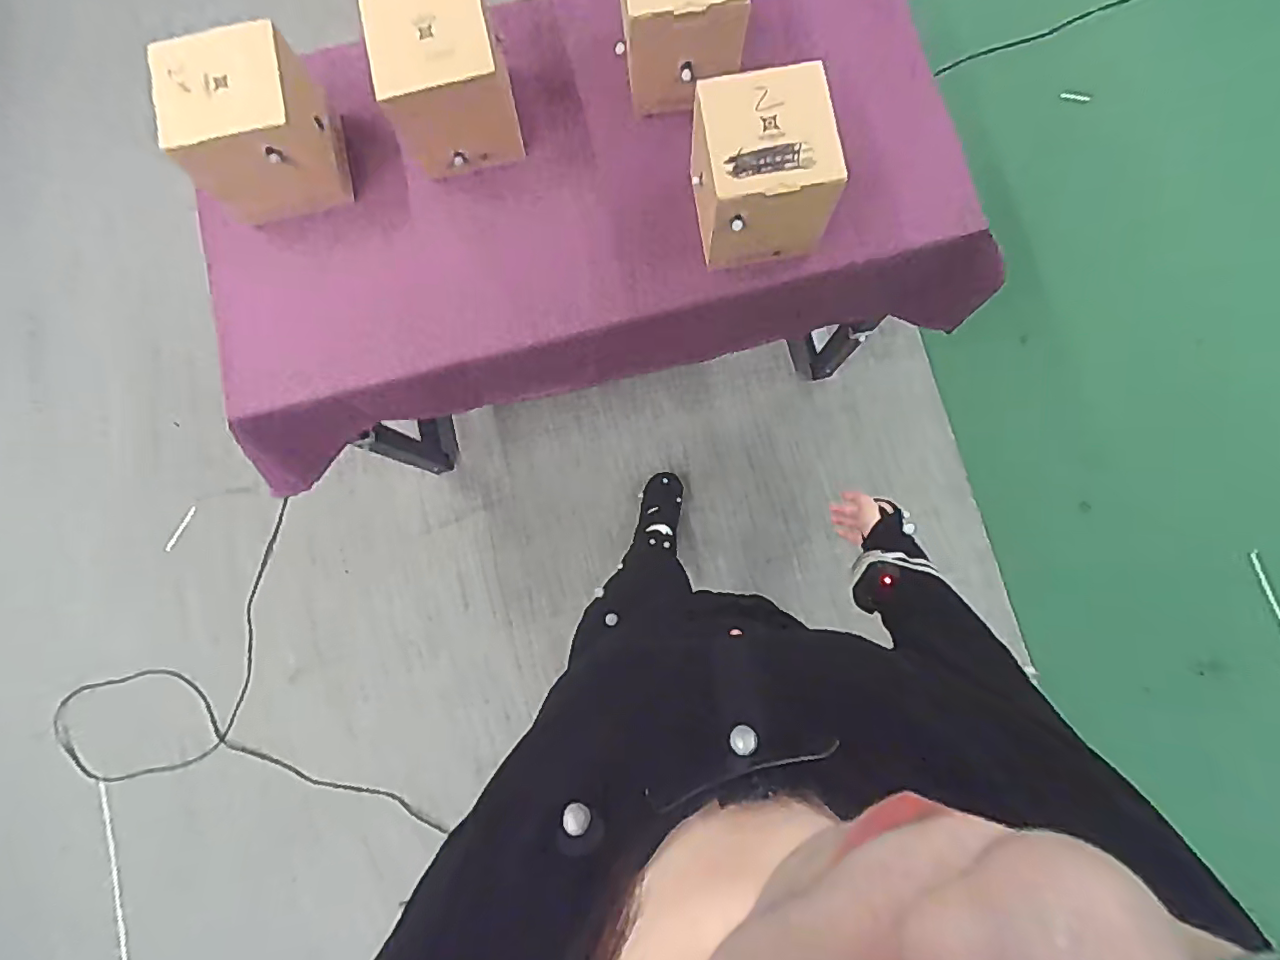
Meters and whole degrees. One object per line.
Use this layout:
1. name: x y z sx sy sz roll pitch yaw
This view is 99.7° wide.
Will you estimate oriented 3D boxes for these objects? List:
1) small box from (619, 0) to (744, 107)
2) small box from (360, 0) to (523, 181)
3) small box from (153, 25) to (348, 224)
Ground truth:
1. small box: 0.055 -0.695 0.806 0.168 0.176 0.179 -7 83 2
2. small box: -0.288 -0.594 0.811 0.168 0.176 0.179 -13 82 2
3. small box: -0.566 -0.519 0.812 0.179 0.176 0.168 -13 81 1
